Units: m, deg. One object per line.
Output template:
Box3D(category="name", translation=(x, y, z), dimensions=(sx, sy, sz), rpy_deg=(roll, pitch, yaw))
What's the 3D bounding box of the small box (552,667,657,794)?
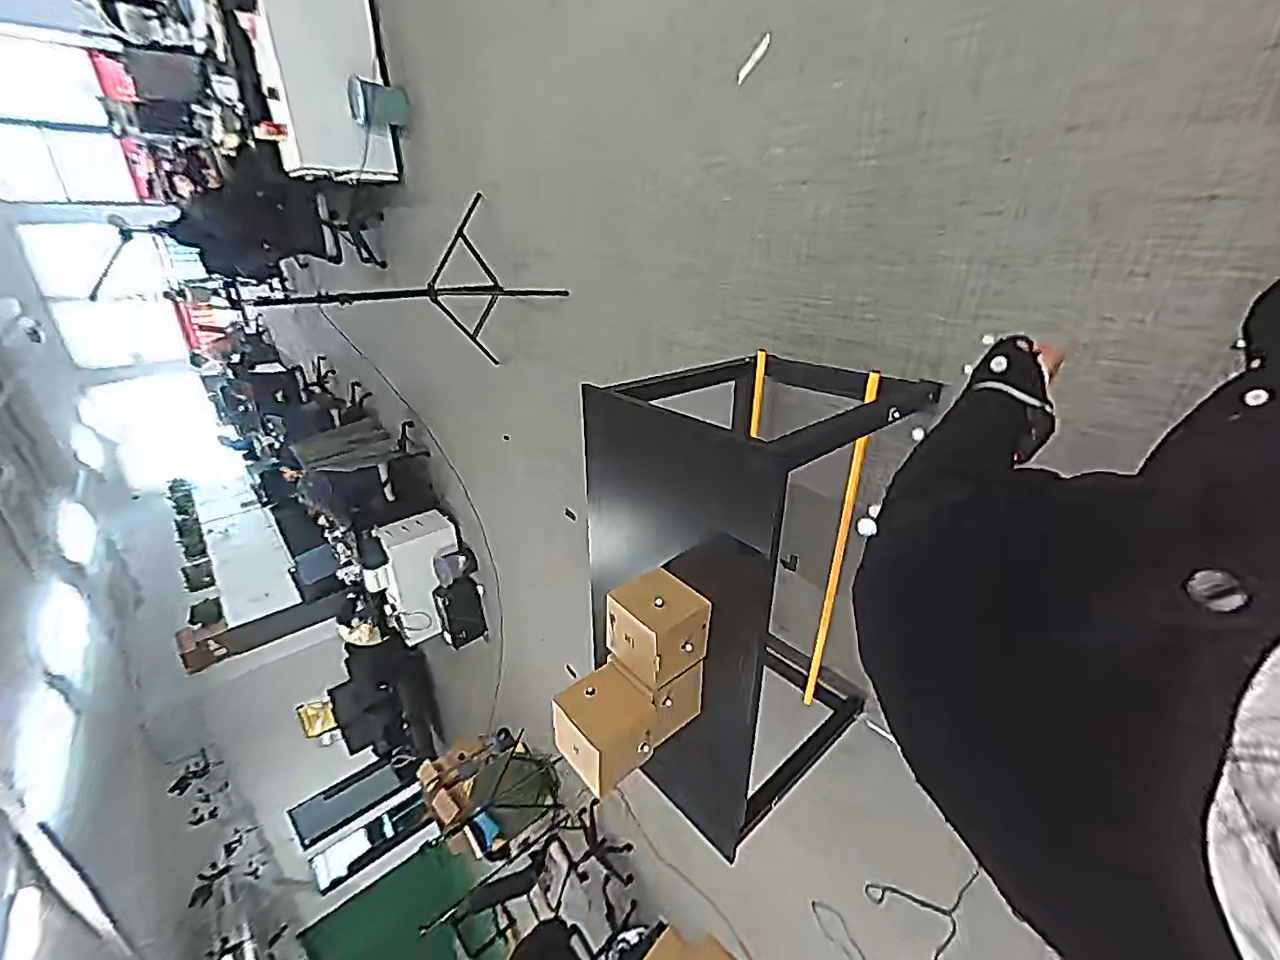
Box3D(category="small box", translation=(-0.083, 0.560, 1.240), dimensions=(0.179, 0.176, 0.168), rpy_deg=(29, 129, 40))
